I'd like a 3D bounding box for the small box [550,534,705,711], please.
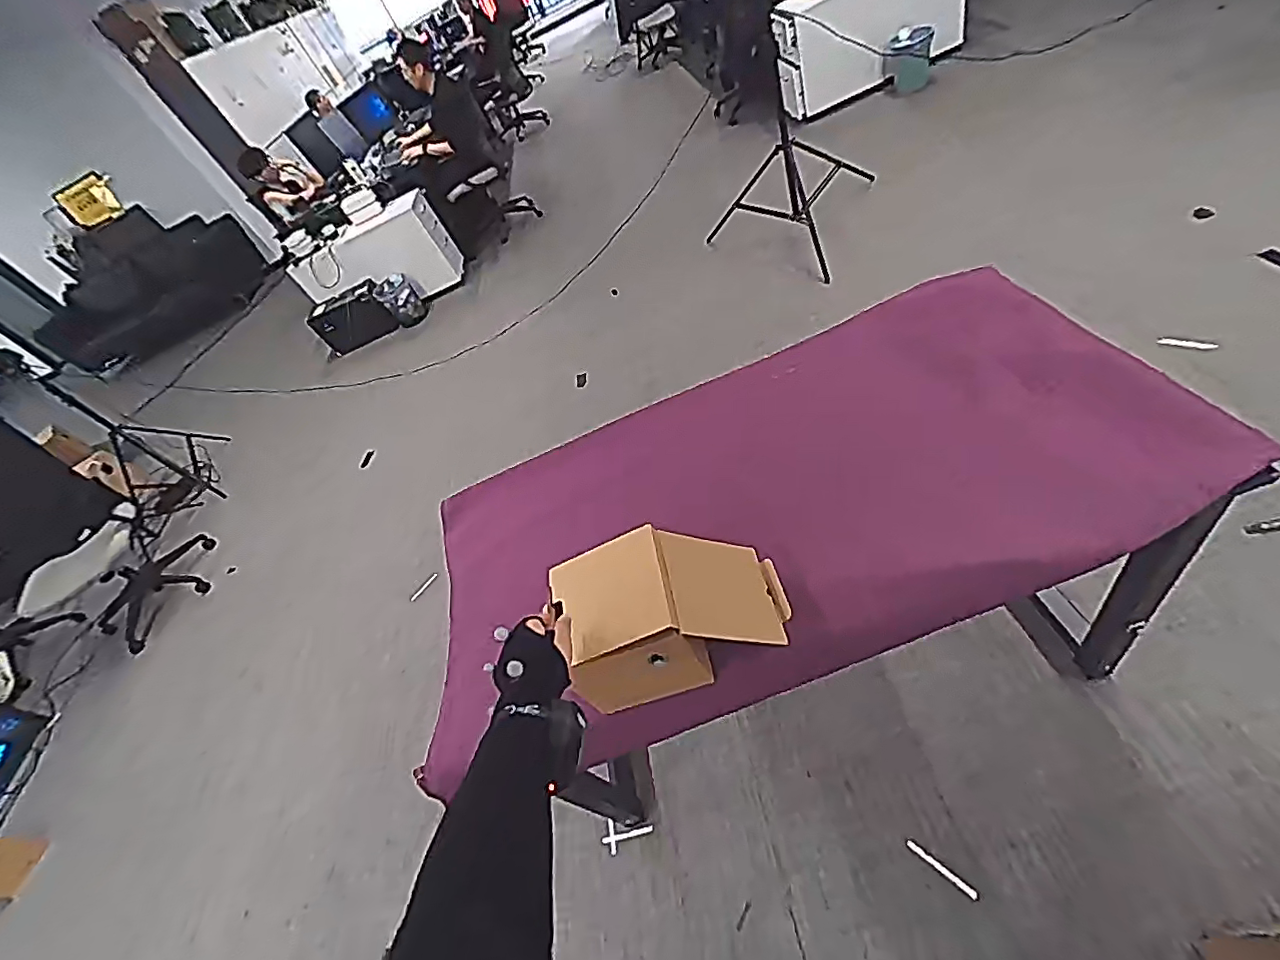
[{"bbox_3d":[-0.014,0.211,0.786,0.179,0.176,0.168,-21,45,10],"label":"small box"}]
